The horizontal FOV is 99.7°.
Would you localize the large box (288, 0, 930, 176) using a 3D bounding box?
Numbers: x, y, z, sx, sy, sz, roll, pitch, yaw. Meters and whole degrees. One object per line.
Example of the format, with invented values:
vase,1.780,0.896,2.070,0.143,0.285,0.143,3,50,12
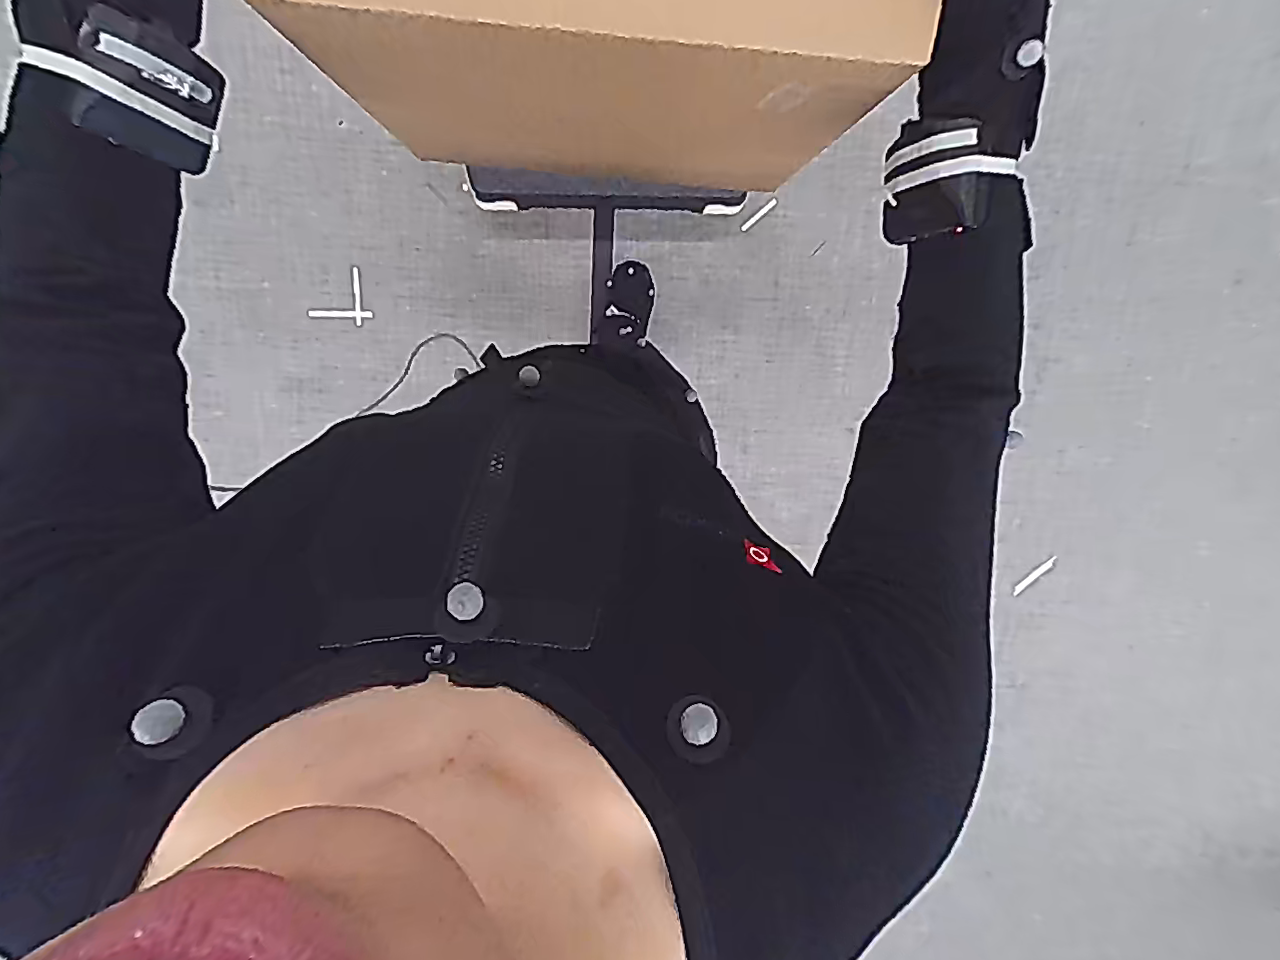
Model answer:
large box,-0.024,-0.462,0.430,0.408,0.320,0.320,2,106,-5
